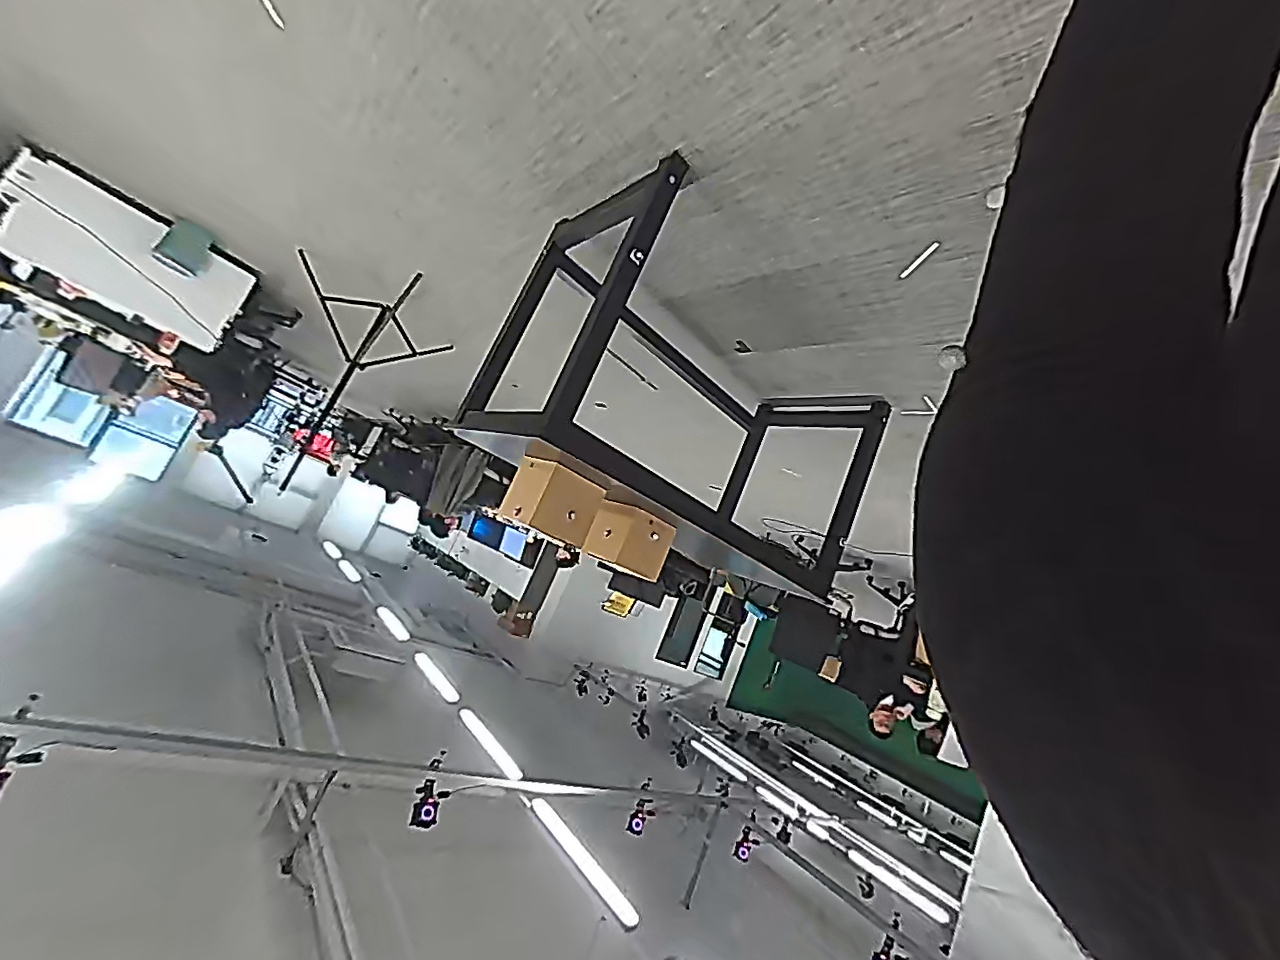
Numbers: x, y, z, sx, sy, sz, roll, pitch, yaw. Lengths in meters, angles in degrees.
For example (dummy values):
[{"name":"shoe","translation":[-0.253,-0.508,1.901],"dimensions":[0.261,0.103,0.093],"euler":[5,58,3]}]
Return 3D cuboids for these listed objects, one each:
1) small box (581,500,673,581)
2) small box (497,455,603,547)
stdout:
[{"name":"small box","translation":[-0.034,0.167,1.552],"dimensions":[0.168,0.176,0.179],"euler":[31,167,-37]},{"name":"small box","translation":[-0.225,0.051,1.381],"dimensions":[0.179,0.176,0.168],"euler":[31,168,-40]}]
